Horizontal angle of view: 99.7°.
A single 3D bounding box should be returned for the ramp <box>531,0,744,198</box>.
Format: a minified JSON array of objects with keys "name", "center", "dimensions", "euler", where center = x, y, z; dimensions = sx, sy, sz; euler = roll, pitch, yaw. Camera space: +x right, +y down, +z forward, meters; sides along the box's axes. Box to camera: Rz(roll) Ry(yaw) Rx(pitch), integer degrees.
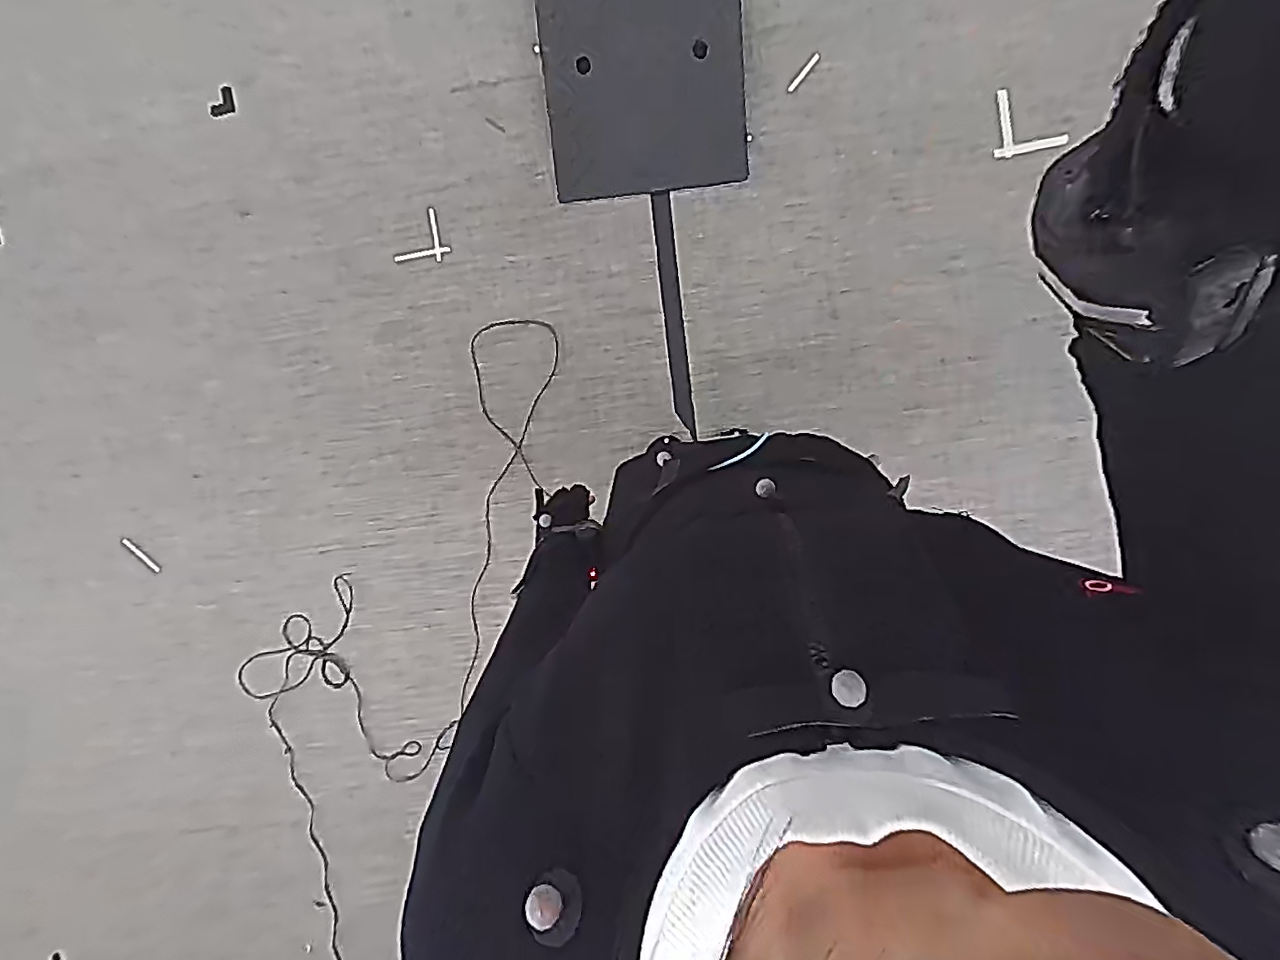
[{"name":"ramp","center":[-0.024,-1.230,1.258],"dimensions":[0.509,0.206,0.991],"euler":[-7,95,3]}]
